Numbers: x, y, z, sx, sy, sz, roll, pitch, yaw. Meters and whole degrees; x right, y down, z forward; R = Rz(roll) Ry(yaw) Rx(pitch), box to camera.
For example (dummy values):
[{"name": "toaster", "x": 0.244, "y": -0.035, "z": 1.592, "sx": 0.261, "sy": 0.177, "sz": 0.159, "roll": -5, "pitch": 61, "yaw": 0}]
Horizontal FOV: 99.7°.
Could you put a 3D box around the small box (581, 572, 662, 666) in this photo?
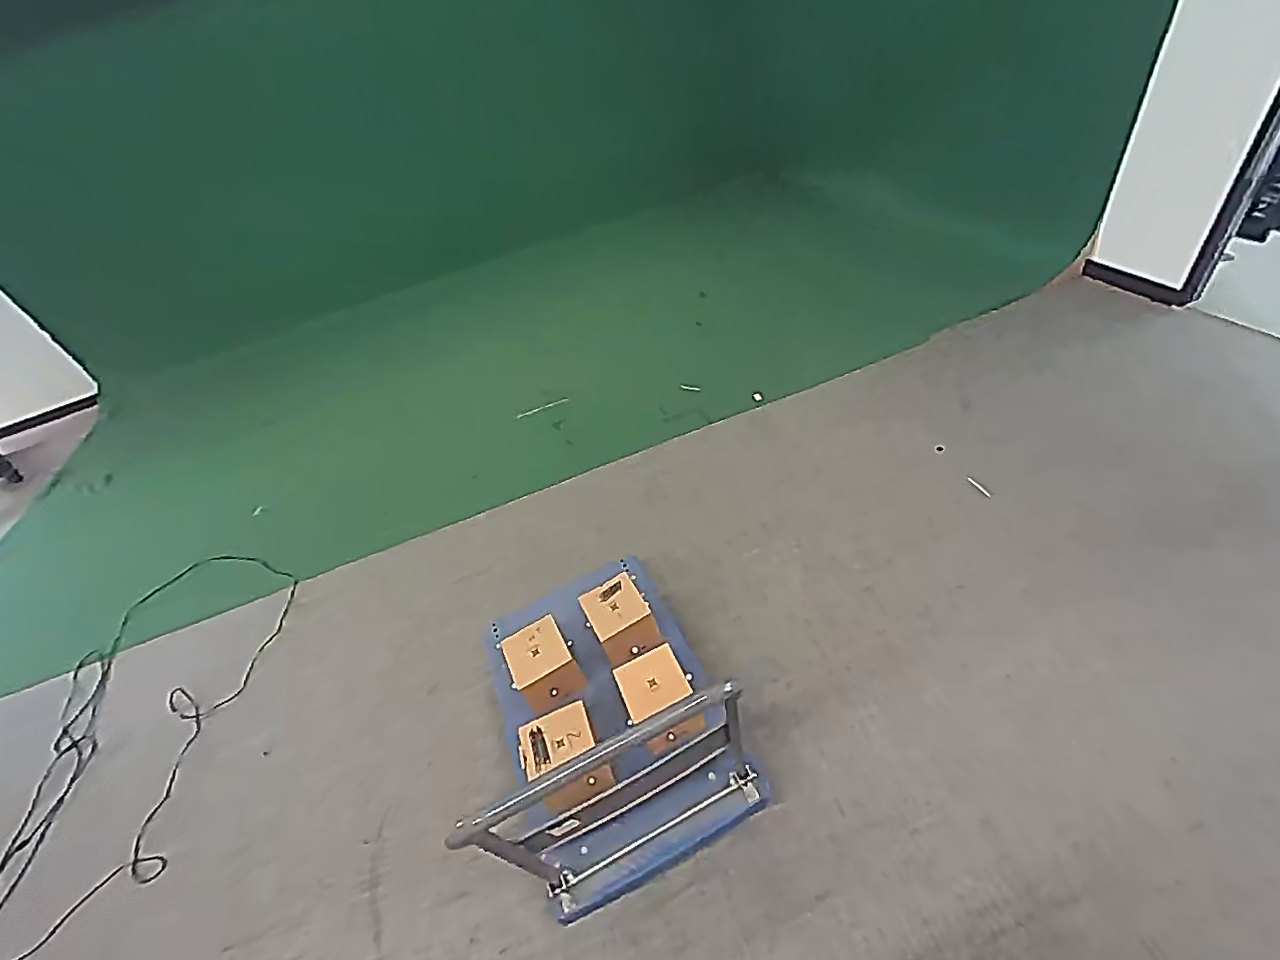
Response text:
[{"name": "small box", "x": -0.053, "y": 0.417, "z": 1.617, "sx": 0.168, "sy": 0.176, "sz": 0.179, "roll": -28, "pitch": 46, "yaw": -11}]

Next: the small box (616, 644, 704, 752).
[{"name": "small box", "x": 0.053, "y": 0.576, "z": 1.426, "sx": 0.168, "sy": 0.176, "sz": 0.179, "roll": -24, "pitch": 44, "yaw": -8}]

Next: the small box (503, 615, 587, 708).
[{"name": "small box", "x": -0.271, "y": 0.533, "z": 1.566, "sx": 0.168, "sy": 0.176, "sz": 0.179, "roll": -27, "pitch": 44, "yaw": -12}]
